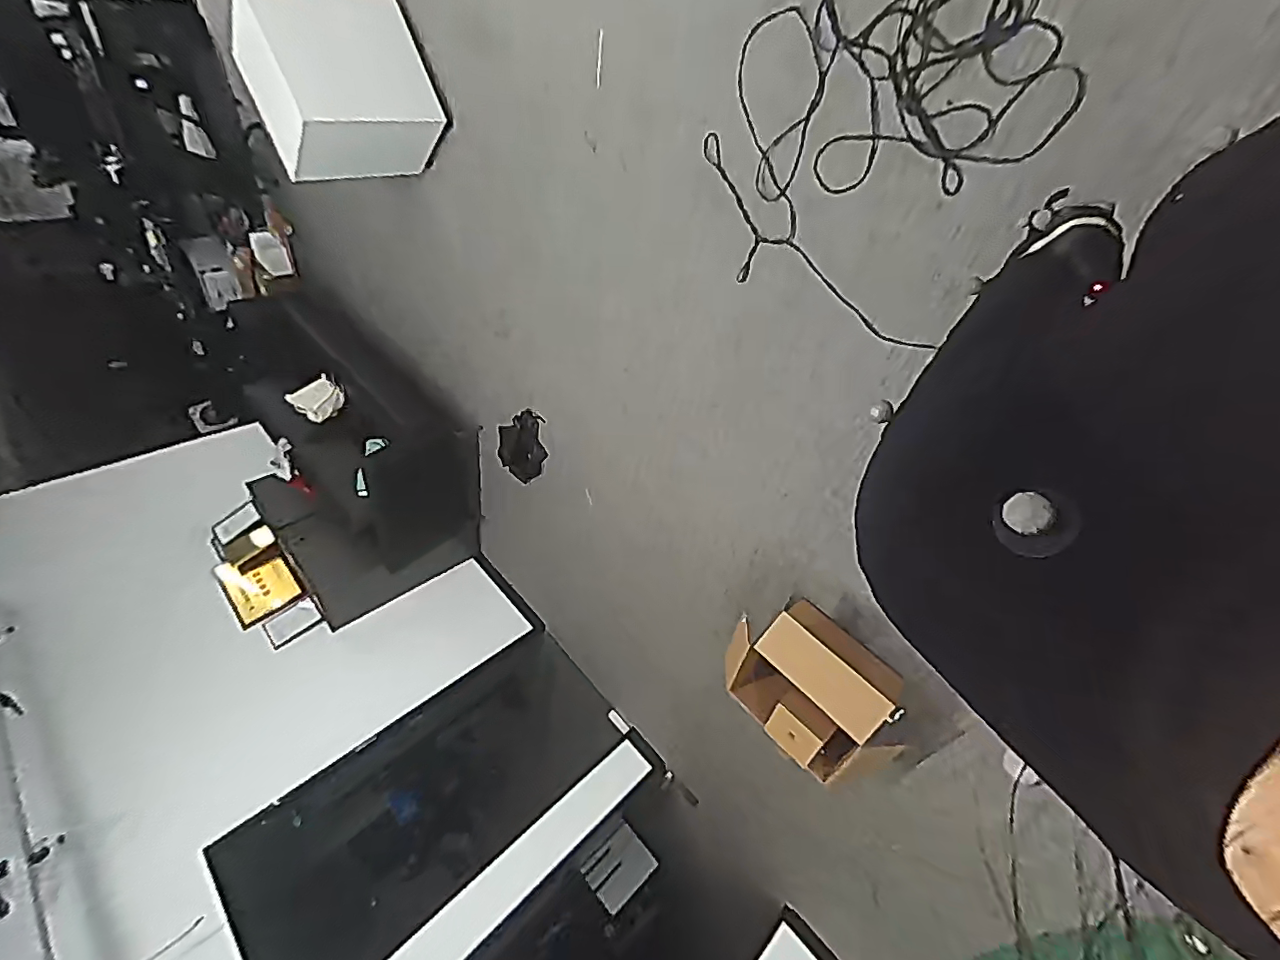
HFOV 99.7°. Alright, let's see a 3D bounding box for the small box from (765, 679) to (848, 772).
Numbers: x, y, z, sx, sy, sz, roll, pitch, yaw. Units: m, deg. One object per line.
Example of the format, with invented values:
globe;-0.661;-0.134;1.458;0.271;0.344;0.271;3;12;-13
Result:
small box;0.532;0.776;1.722;0.168;0.176;0.179;39;136;30
